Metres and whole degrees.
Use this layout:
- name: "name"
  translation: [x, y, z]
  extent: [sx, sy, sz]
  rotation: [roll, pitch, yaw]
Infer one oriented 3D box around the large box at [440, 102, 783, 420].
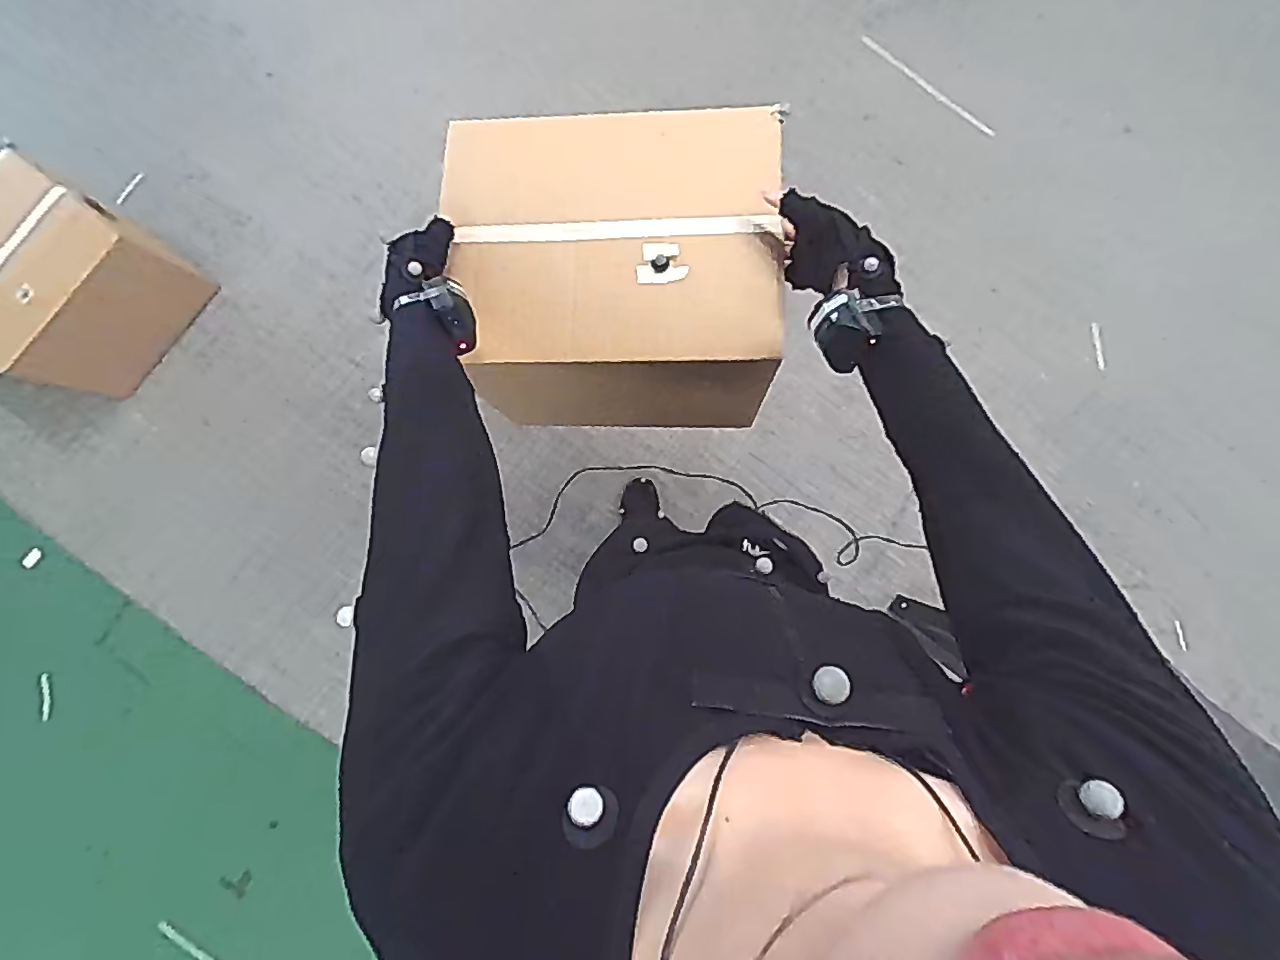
- name: "large box"
  translation: [-0.029, -0.277, 0.783]
  extent: [0.408, 0.320, 0.320]
  rotation: [0, 83, 4]
